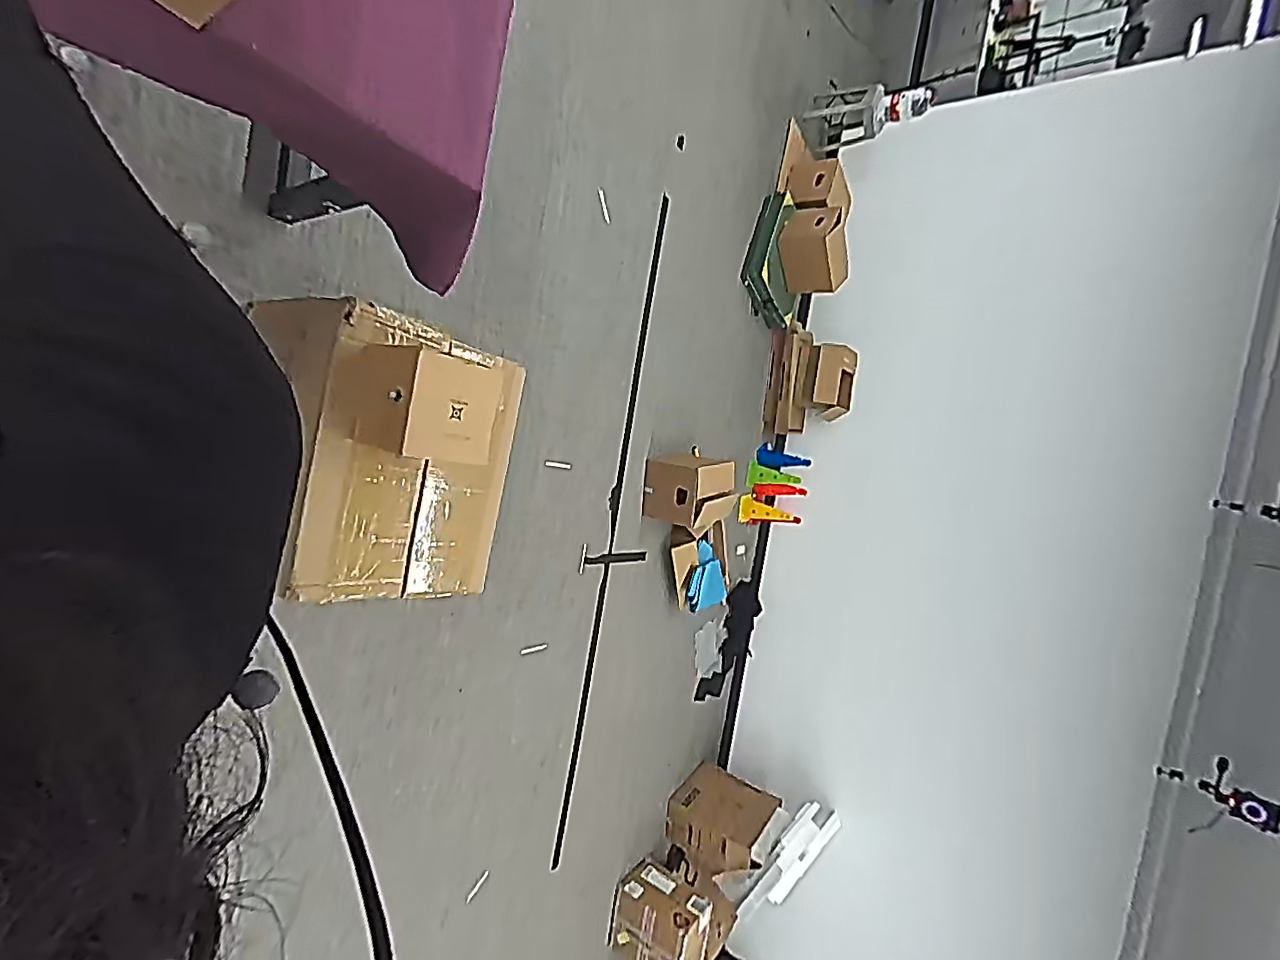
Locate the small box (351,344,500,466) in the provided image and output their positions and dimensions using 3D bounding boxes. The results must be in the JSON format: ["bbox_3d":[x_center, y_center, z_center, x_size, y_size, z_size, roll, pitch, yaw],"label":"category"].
[{"bbox_3d":[-0.374,-0.130,0.939,0.168,0.176,0.179,9,94,-54],"label":"small box"}]
